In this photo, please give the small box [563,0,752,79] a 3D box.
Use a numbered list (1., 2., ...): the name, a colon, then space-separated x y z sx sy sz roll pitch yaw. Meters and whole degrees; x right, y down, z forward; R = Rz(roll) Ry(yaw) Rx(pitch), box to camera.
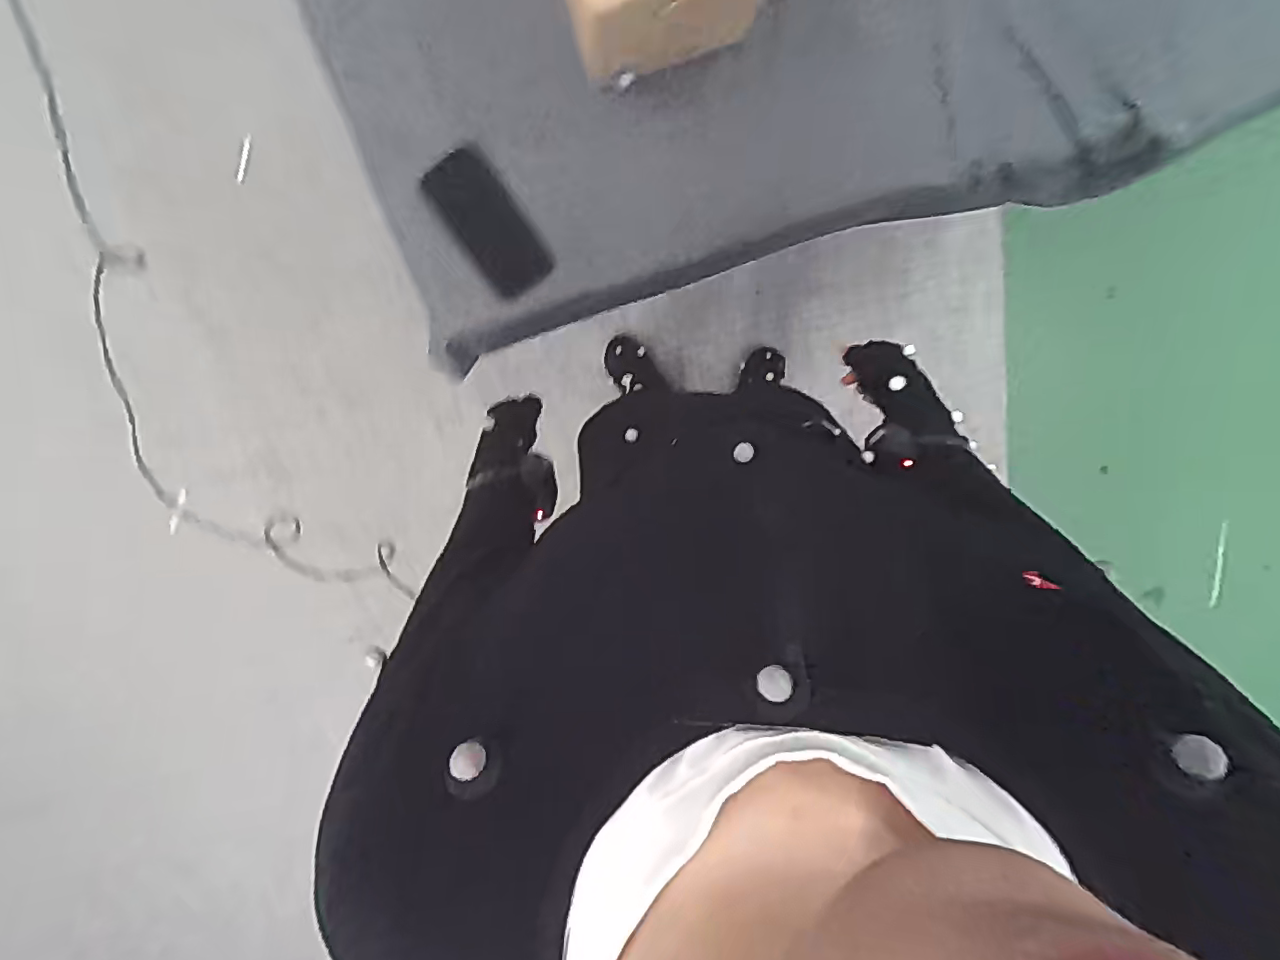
1. small box: 0.007 -0.489 0.471 0.168 0.176 0.179 -18 108 1
